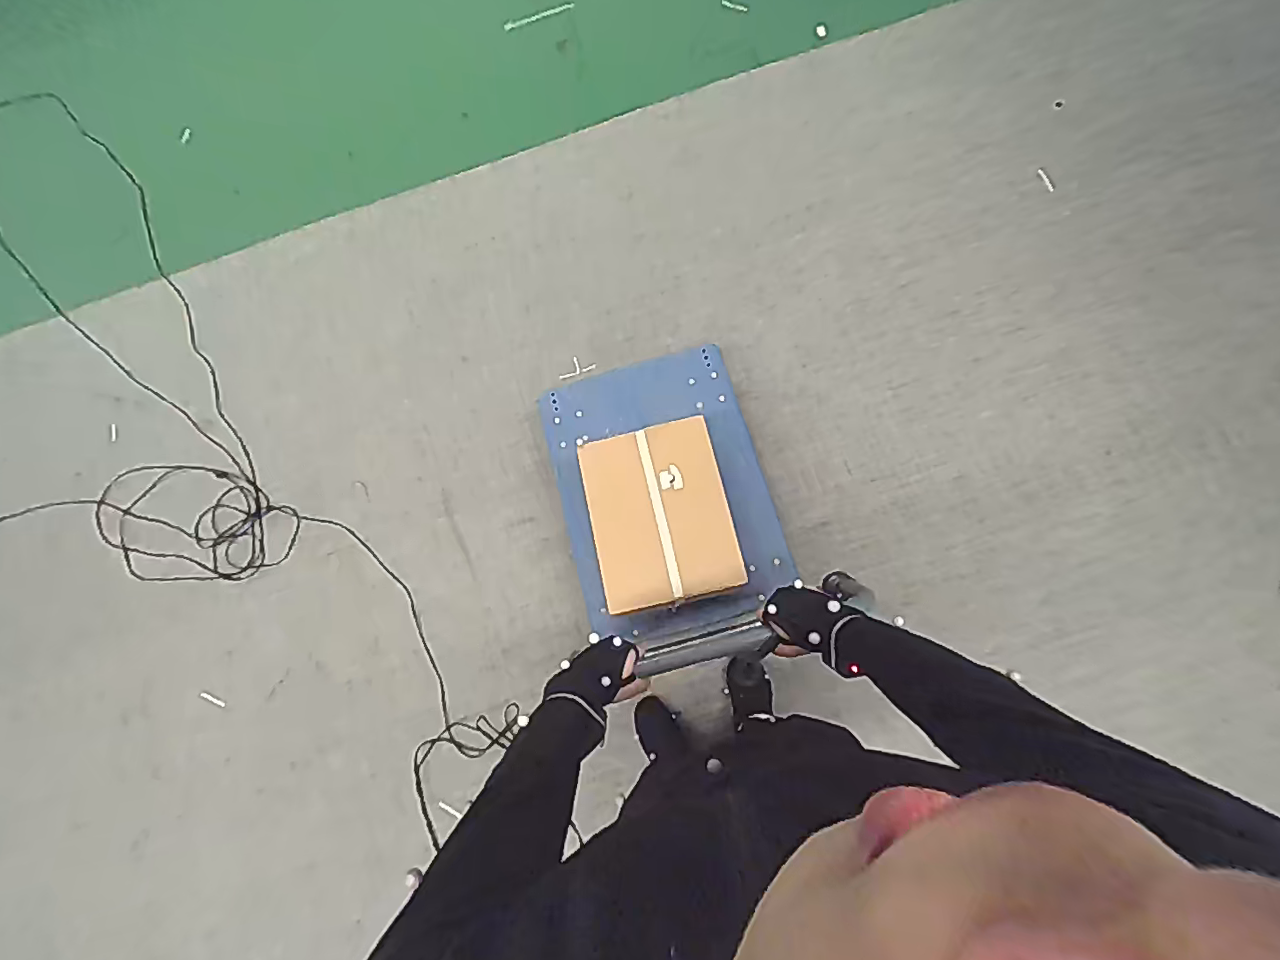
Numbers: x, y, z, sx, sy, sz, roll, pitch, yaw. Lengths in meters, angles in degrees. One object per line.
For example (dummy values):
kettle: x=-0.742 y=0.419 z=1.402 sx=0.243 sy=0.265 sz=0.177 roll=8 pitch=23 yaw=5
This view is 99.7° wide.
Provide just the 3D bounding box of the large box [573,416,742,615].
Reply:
large box: x=0.048 y=0.106 z=1.370 sx=0.320 sy=0.320 sz=0.408 roll=-13 pitch=74 yaw=2
